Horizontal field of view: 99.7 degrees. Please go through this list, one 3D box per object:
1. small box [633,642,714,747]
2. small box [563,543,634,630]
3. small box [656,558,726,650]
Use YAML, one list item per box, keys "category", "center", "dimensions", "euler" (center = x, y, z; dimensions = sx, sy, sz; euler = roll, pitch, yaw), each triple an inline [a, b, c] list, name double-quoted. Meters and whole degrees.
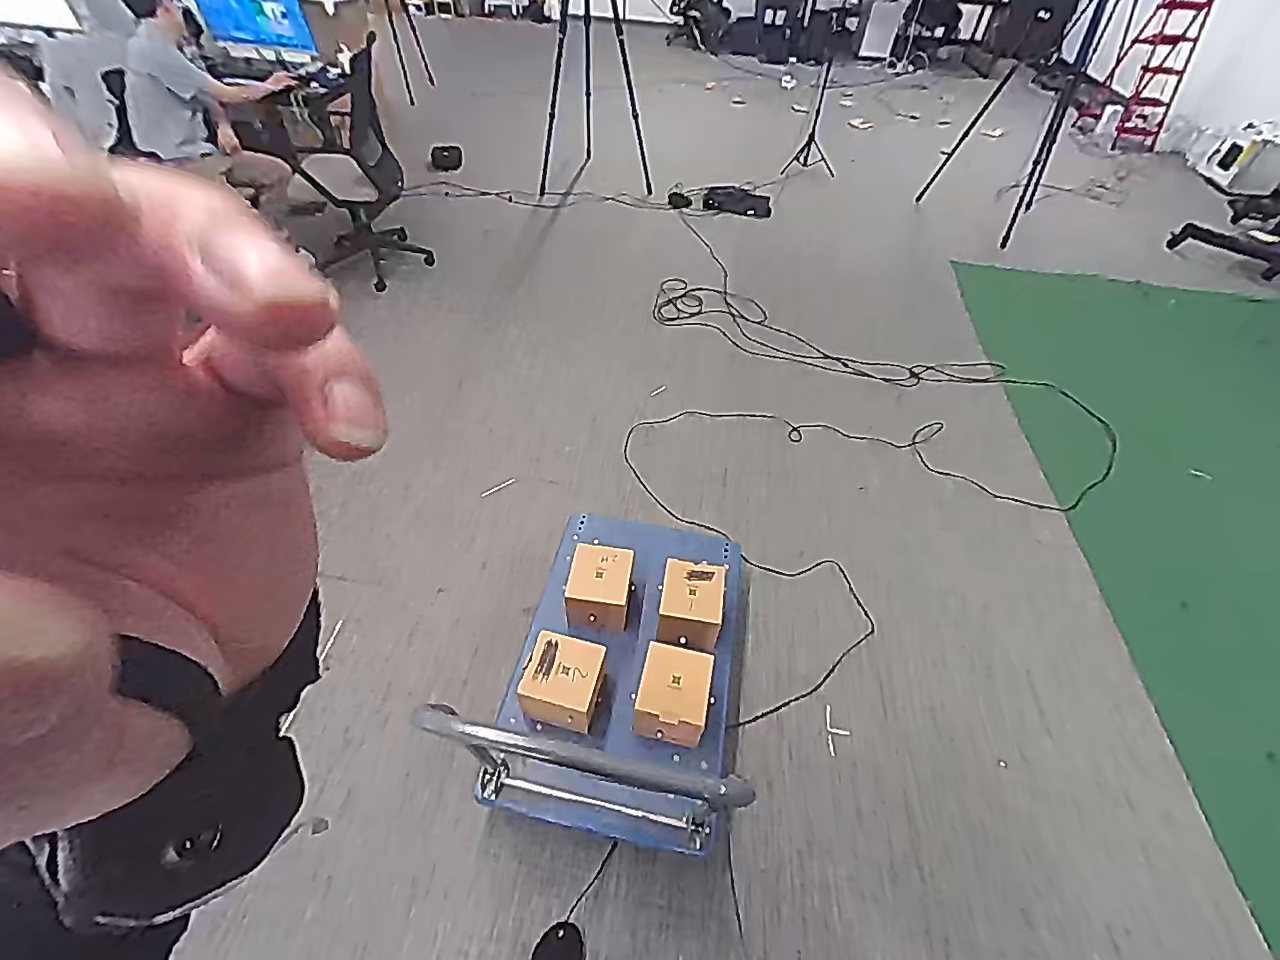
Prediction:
- category: "small box"
  center: [0.080, 0.535, 1.345]
  dimensions: [0.168, 0.176, 0.179]
  euler: [12, 51, 6]
- category: "small box"
  center: [-0.113, 0.305, 1.527]
  dimensions: [0.168, 0.176, 0.179]
  euler: [8, 50, 3]
- category: "small box"
  center: [0.139, 0.347, 1.506]
  dimensions: [0.168, 0.176, 0.179]
  euler: [9, 51, 5]
